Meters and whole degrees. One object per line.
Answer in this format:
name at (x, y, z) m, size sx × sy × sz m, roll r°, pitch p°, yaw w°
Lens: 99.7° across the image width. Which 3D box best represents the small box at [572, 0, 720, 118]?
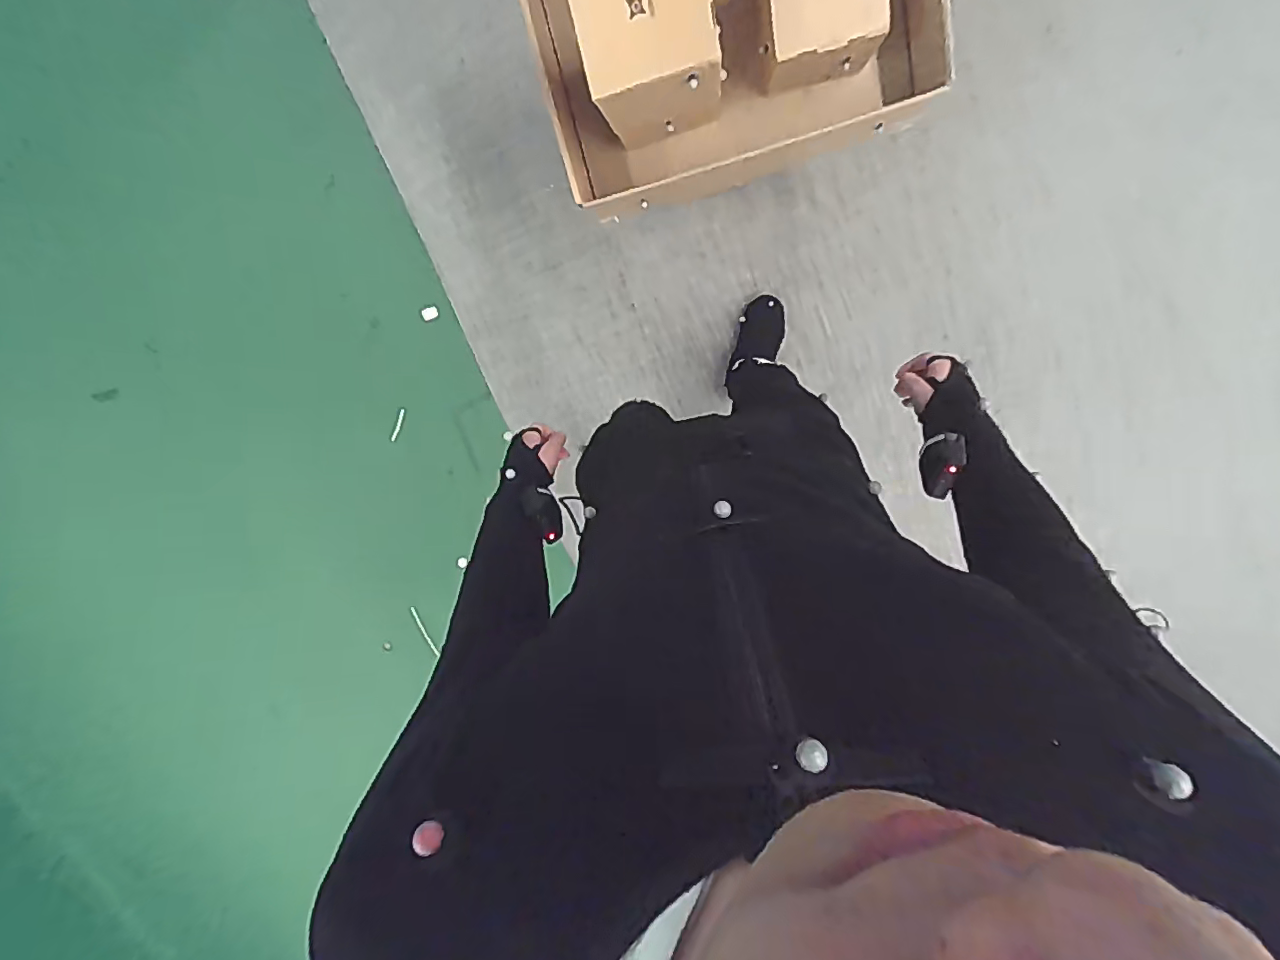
small box at (0.012, -0.636, 0.751) m, size 0.179 × 0.176 × 0.168 m, roll -11°, pitch 108°, yaw 12°
